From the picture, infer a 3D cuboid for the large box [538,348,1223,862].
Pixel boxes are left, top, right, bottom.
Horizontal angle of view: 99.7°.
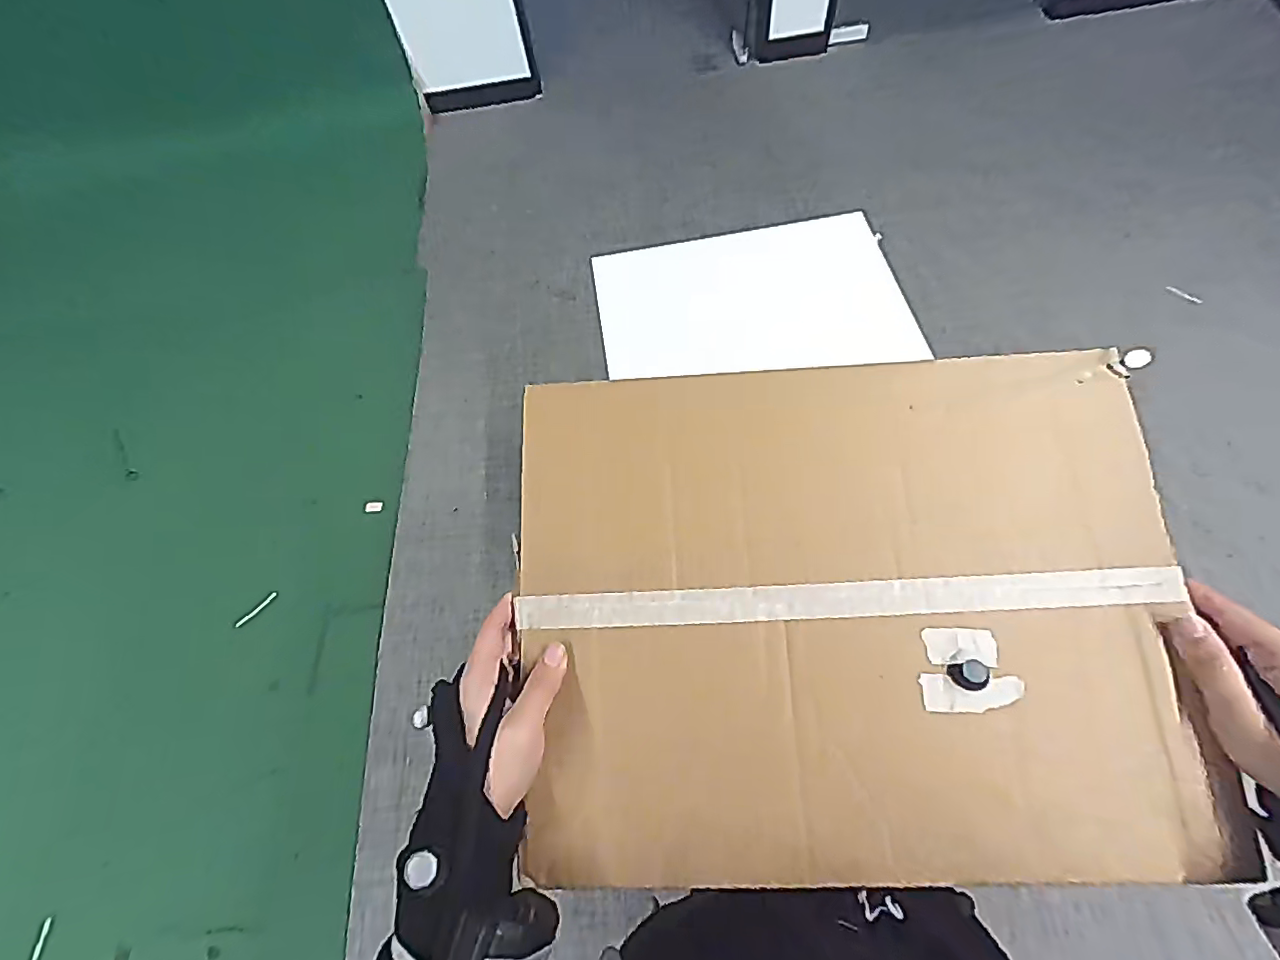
[{"bbox_3d":[0.136,0.103,0.497,0.408,0.320,0.320,-3,77,2],"label":"large box"}]
